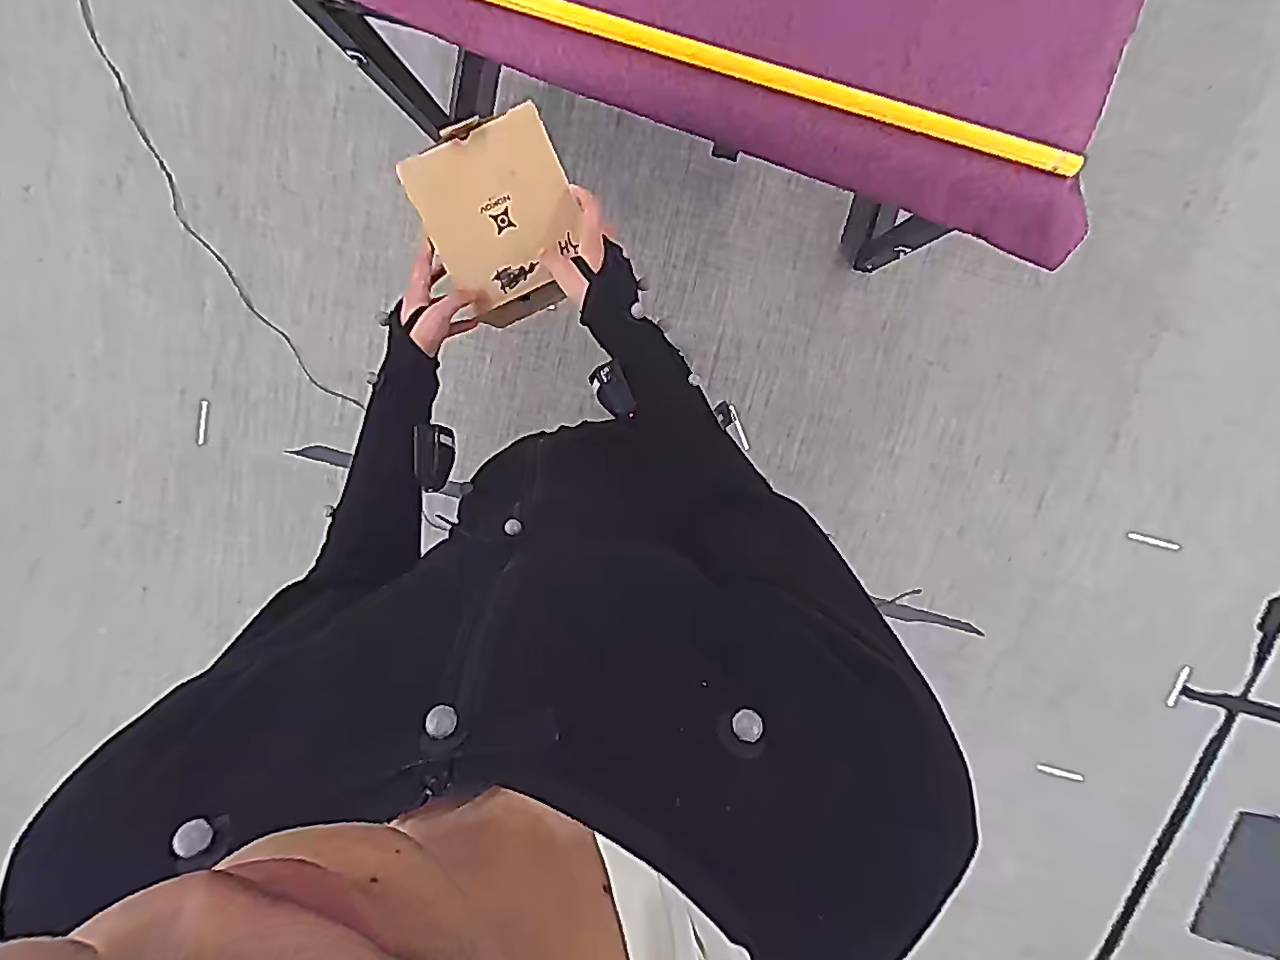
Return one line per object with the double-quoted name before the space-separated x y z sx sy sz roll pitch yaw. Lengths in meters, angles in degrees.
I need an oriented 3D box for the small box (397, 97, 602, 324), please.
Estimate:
"small box" -0.155 -0.307 0.659 0.168 0.176 0.179 -24 103 2
